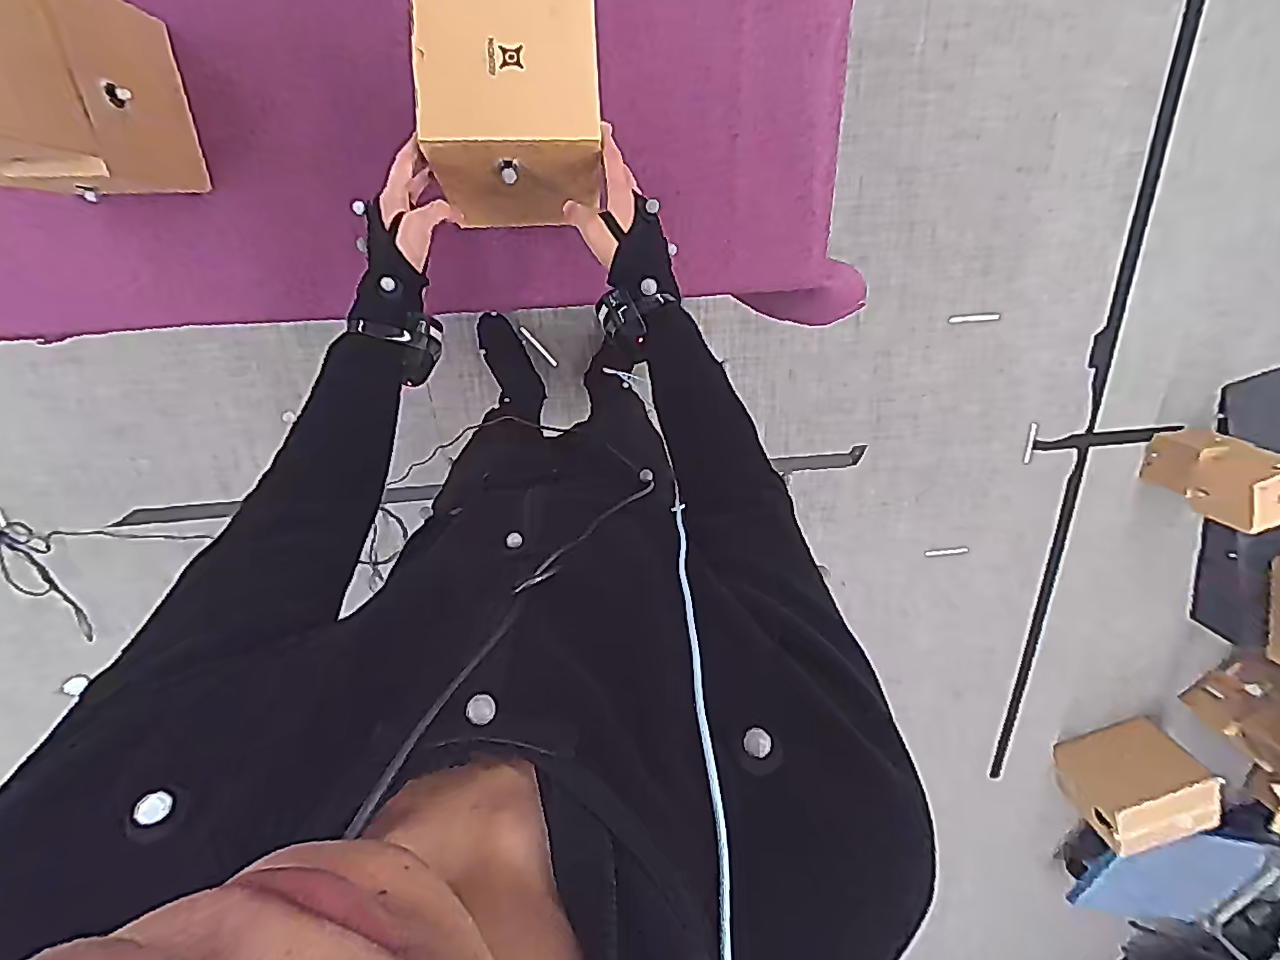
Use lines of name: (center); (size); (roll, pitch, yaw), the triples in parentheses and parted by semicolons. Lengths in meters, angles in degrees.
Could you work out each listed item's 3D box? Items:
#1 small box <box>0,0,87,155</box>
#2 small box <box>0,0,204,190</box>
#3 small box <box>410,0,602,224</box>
small box: (-0.601, -0.354, 0.411); (0.168, 0.176, 0.179); (-7, 113, -3)
small box: (-0.612, -0.408, 0.566); (0.168, 0.176, 0.179); (-3, 113, -5)
small box: (-0.133, -0.401, 0.592); (0.179, 0.176, 0.168); (-3, 88, -4)
